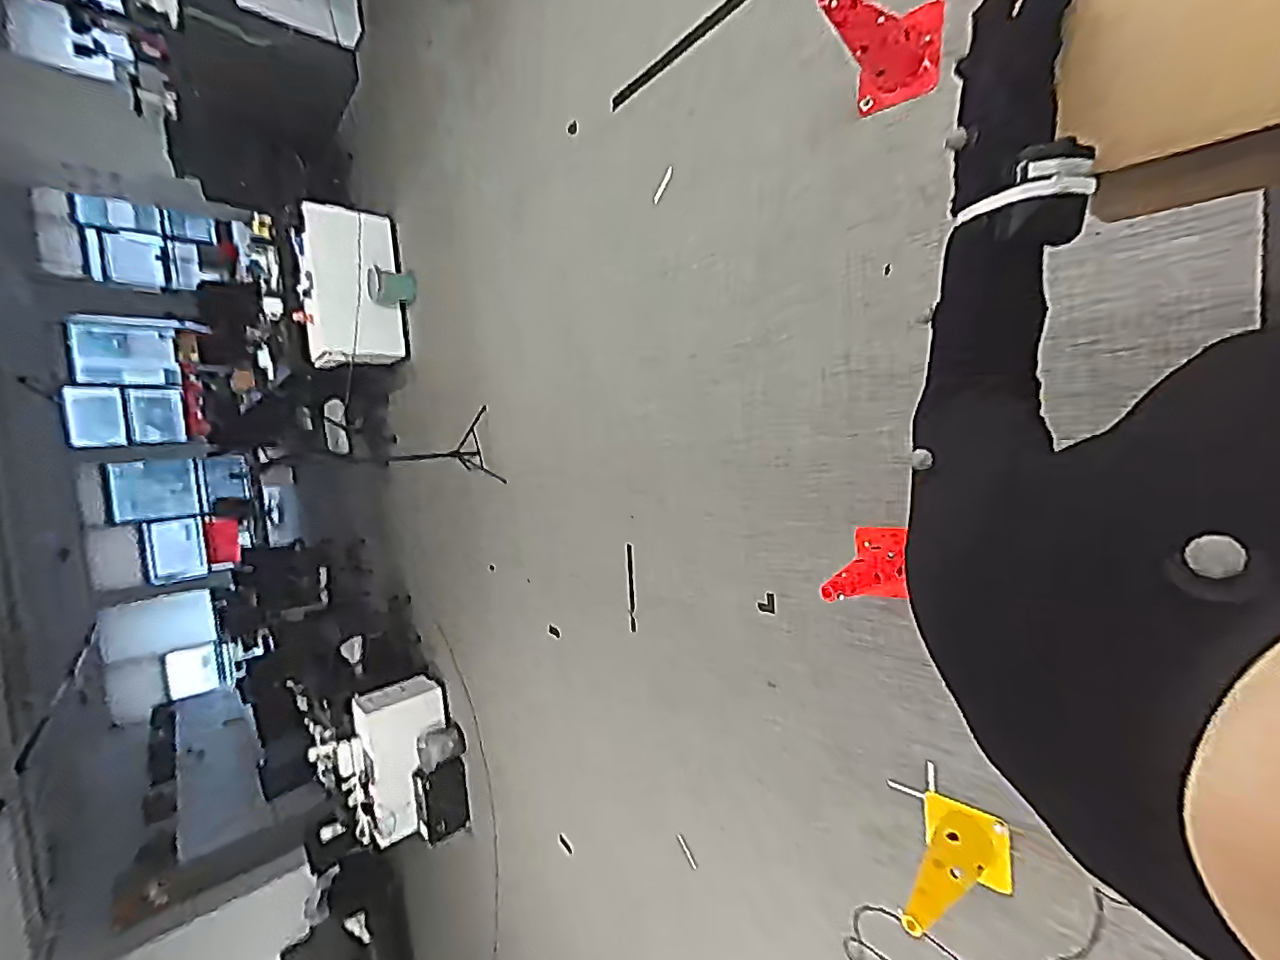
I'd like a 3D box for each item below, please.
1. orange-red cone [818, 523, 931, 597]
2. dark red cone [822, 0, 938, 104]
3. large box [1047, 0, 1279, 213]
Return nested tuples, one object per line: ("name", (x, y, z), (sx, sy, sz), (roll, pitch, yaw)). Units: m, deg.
("orange-red cone", (0.573, 0.242, 1.394), (0.198, 0.360, 0.199), (-3, 95, 50))
("dark red cone", (0.506, -1.046, 1.223), (0.201, 0.394, 0.202), (9, 103, 47))
("large box", (0.544, -0.419, 0.362), (0.408, 0.320, 0.320), (3, 105, 46))
